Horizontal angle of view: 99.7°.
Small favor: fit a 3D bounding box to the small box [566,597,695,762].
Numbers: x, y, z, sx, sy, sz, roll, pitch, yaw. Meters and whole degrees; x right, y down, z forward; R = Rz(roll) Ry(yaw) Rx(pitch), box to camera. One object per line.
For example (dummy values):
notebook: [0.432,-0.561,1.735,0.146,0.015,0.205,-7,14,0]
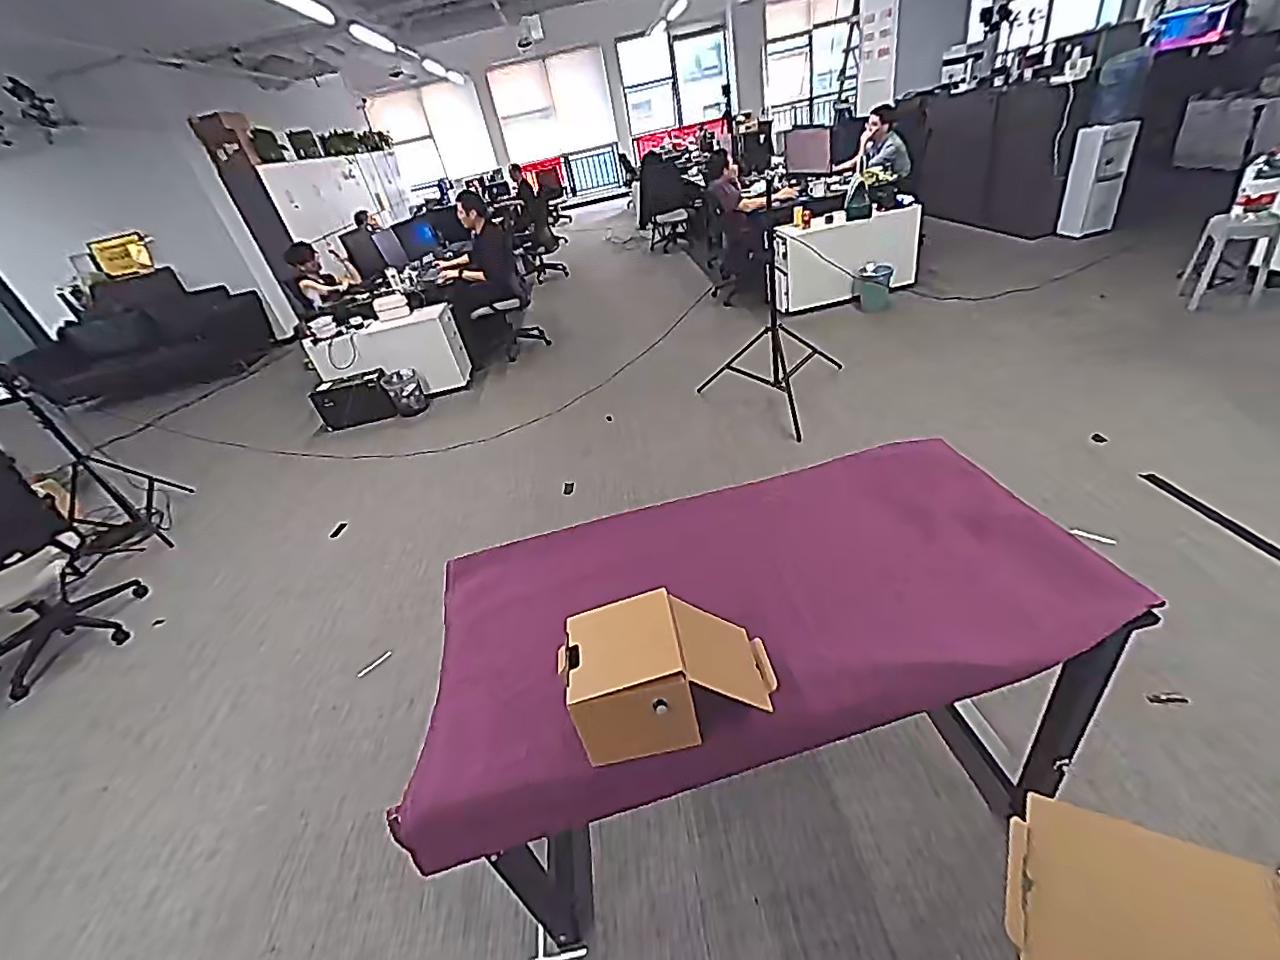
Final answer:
small box: [-0.012,0.319,0.867,0.179,0.176,0.168,-13,33,1]
